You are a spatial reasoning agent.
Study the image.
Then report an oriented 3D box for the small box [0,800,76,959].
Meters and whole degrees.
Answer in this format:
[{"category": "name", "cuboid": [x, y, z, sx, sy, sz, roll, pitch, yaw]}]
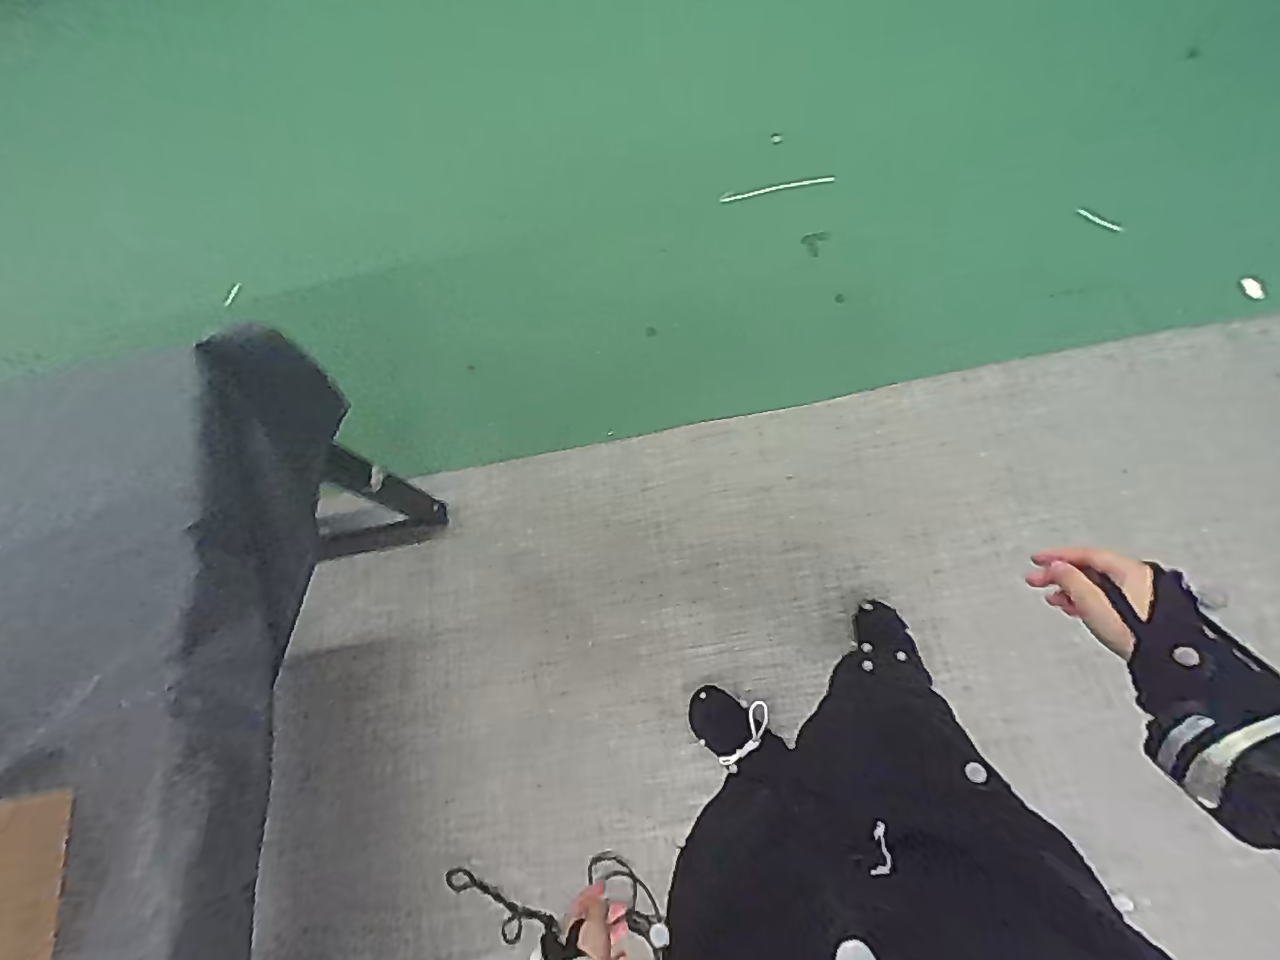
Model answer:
[{"category": "small box", "cuboid": [-0.613, 0.374, 0.426, 0.168, 0.176, 0.179, -12, 73, 4]}]
